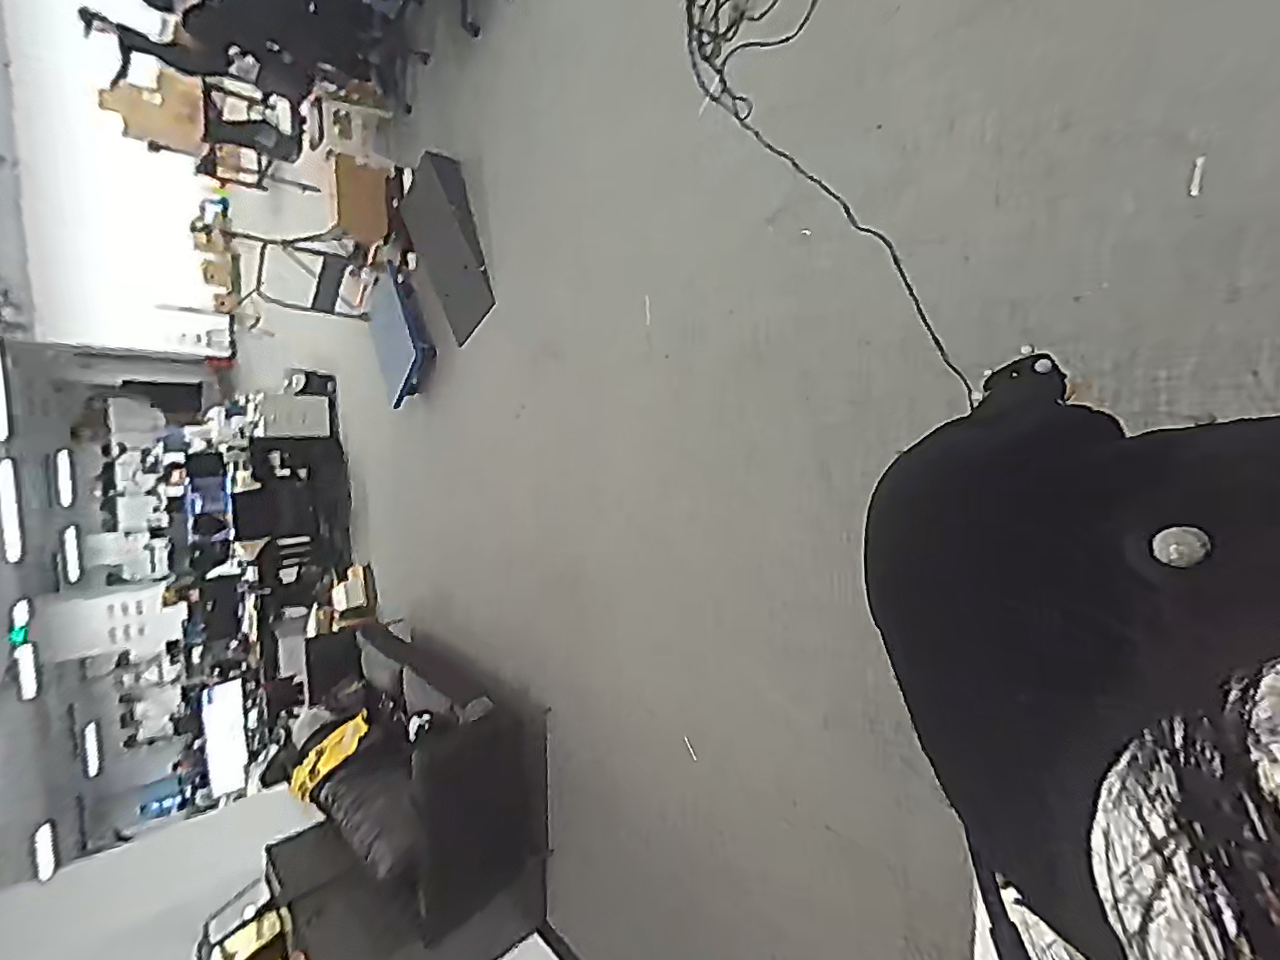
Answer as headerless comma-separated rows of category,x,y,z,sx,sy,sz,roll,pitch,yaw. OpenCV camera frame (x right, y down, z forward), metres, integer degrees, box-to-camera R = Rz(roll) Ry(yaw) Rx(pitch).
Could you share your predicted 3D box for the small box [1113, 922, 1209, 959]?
small box,0.634,0.676,0.612,0.168,0.176,0.179,8,100,46
